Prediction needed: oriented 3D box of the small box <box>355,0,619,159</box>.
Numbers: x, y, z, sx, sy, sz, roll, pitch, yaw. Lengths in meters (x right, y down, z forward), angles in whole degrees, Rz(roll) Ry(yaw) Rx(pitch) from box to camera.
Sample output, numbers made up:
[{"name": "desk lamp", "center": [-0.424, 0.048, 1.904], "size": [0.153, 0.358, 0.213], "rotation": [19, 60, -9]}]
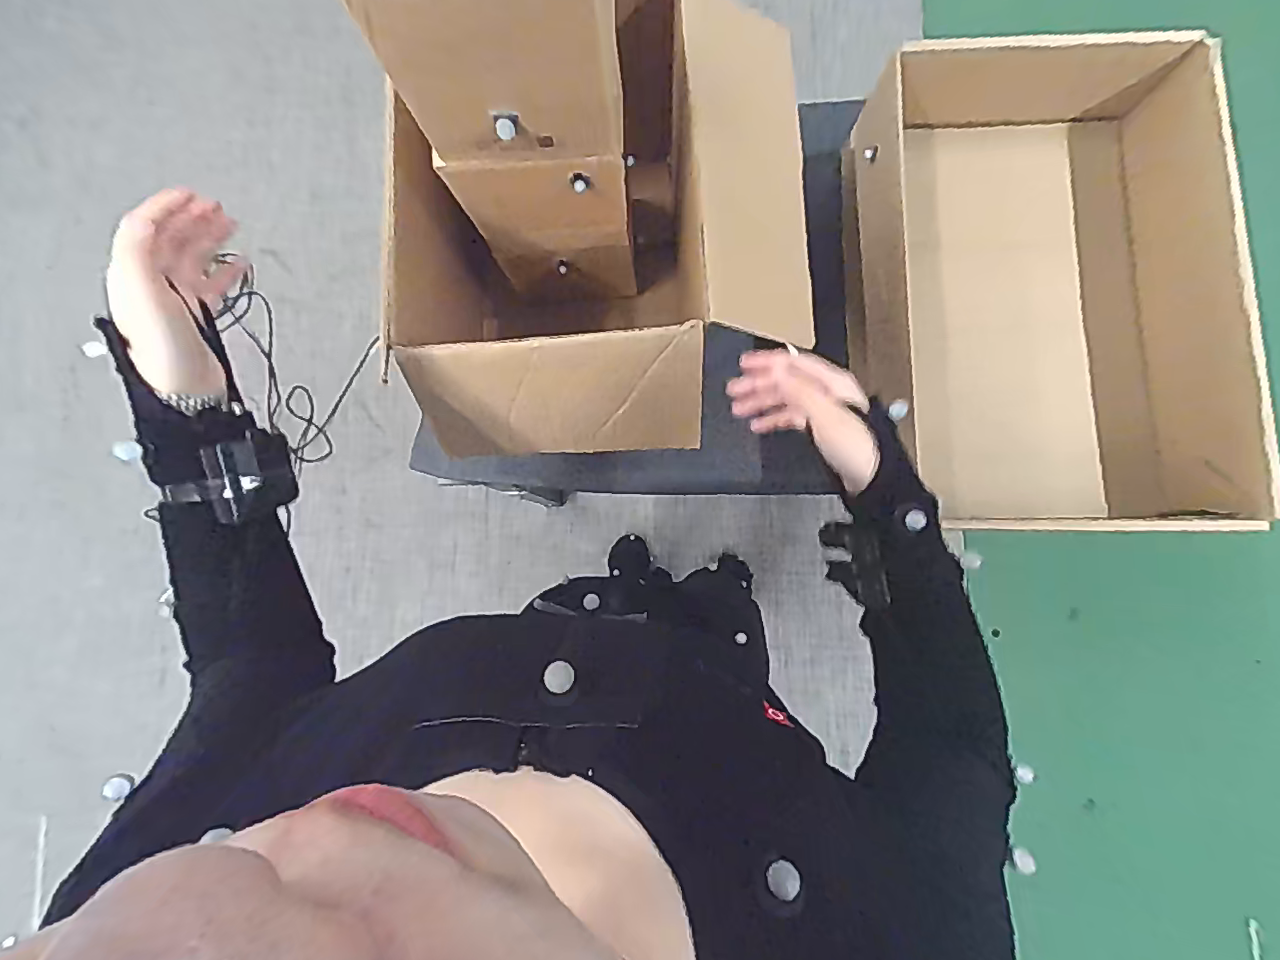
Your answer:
[{"name": "small box", "center": [-0.107, -0.391, 0.426], "size": [0.168, 0.176, 0.179], "rotation": [-1, 87, 3]}]
